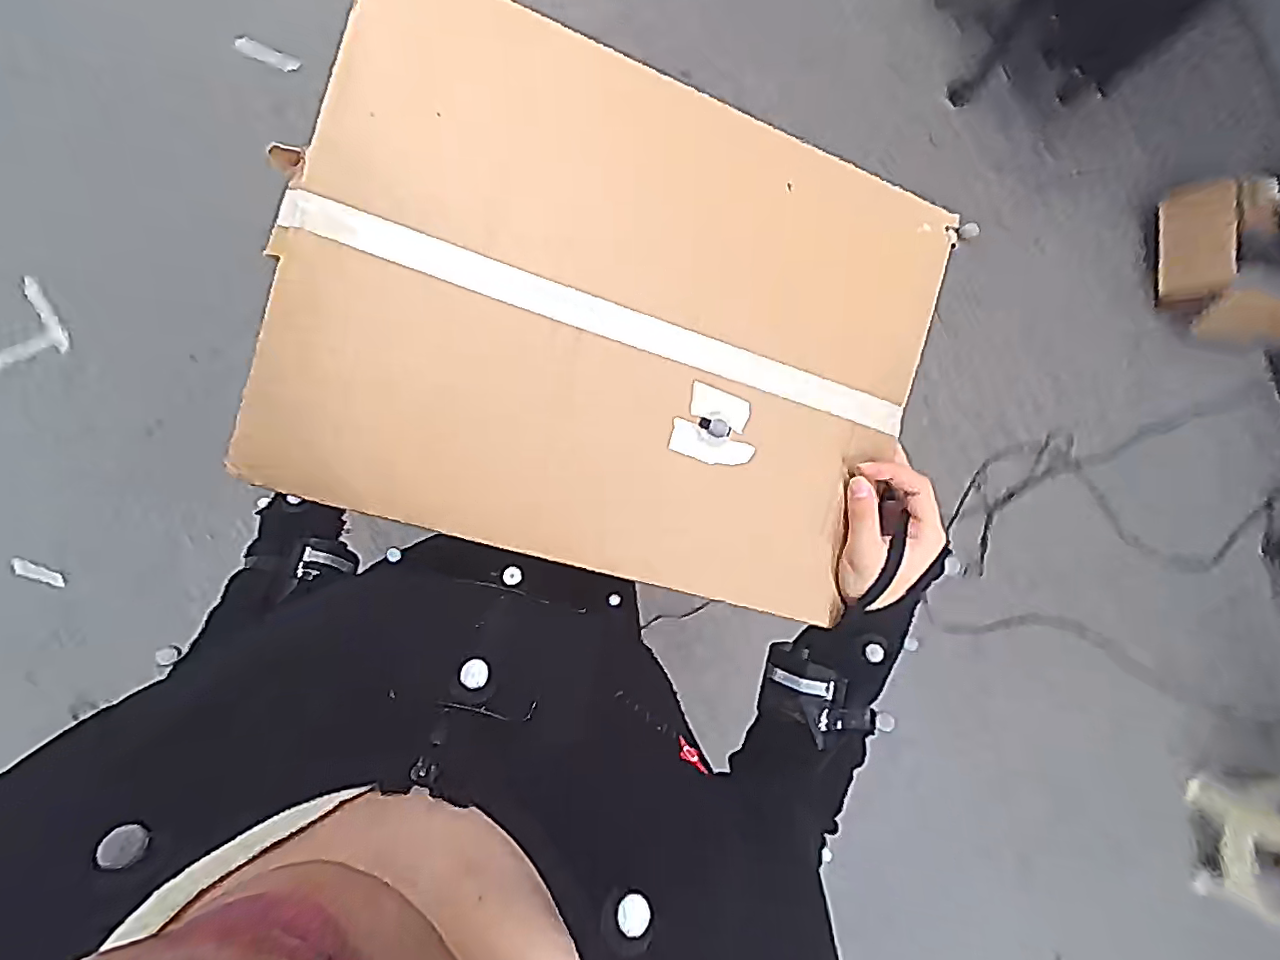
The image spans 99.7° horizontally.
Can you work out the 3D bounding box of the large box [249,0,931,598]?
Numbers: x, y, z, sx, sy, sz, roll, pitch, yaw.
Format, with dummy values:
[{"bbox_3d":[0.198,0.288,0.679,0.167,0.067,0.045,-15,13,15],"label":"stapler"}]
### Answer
[{"bbox_3d":[-0.040,-0.113,0.499,0.408,0.320,0.320,15,91,-15],"label":"large box"}]
